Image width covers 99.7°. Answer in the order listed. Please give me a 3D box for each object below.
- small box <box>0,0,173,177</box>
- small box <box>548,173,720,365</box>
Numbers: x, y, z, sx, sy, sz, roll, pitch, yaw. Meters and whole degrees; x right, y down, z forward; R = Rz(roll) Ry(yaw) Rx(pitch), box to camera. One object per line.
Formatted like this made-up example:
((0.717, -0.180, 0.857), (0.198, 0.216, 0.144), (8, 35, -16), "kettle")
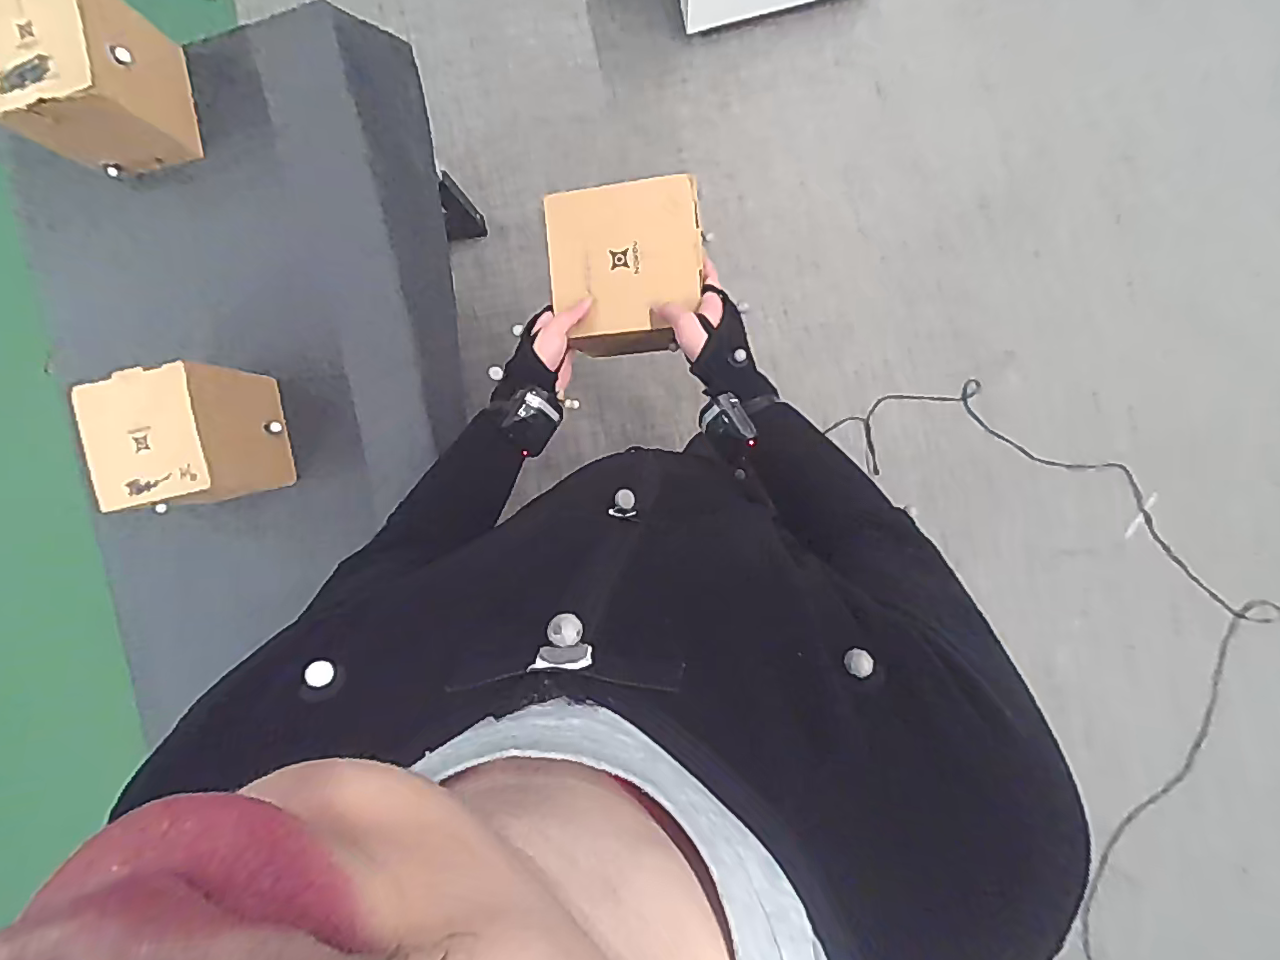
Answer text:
((-0.800, -0.549, 0.747), (0.168, 0.176, 0.179), (-11, 90, 2), "small box")
((0.002, -0.244, 0.668), (0.179, 0.176, 0.168), (-6, 92, 9), "small box")
